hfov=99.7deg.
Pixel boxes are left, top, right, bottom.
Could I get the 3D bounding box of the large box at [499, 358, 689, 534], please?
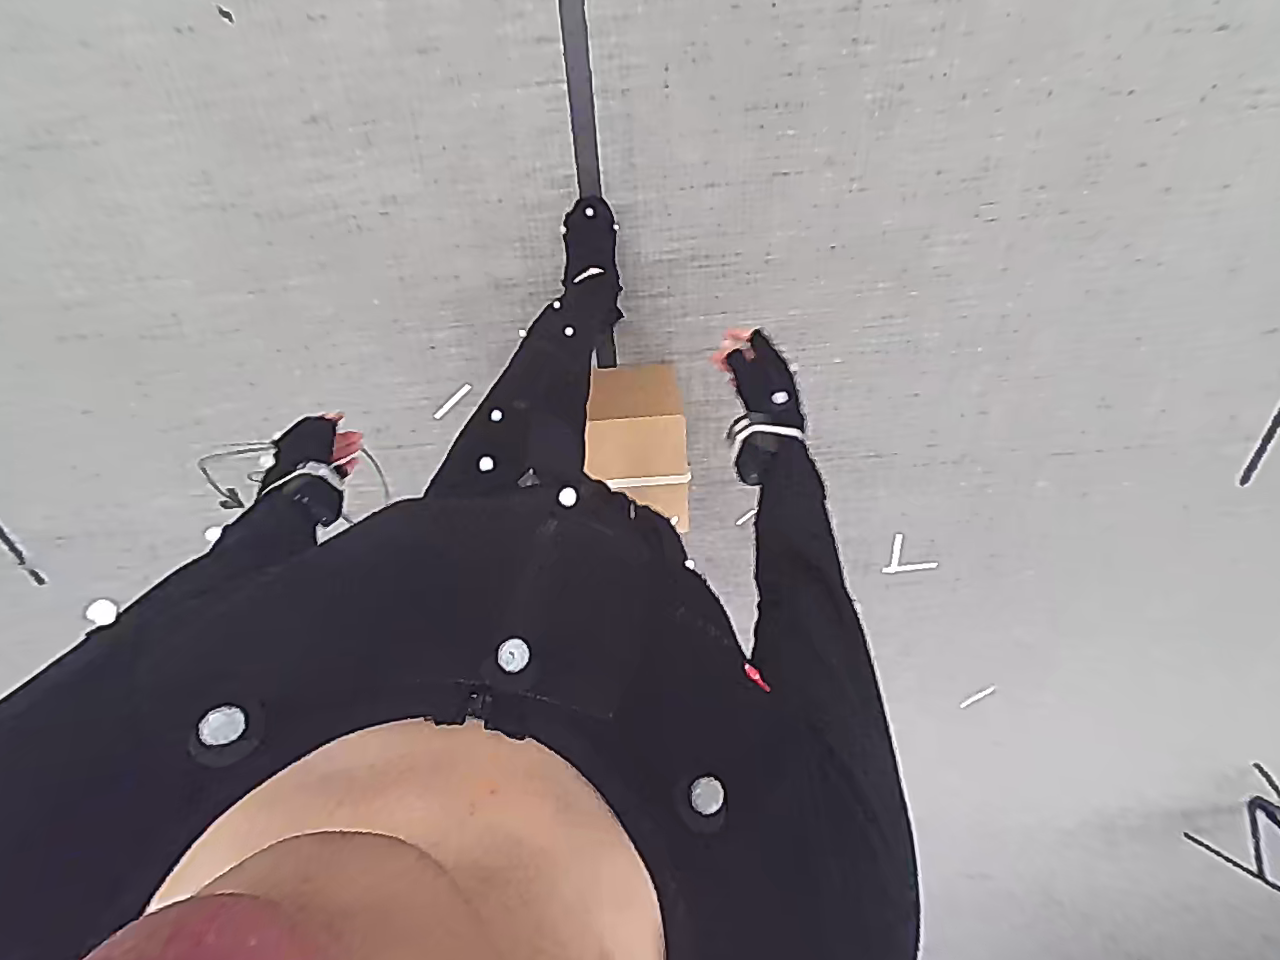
[{"bbox_3d":[-0.092,-0.092,1.344,0.408,0.320,0.320,-4,122,2],"label":"large box"}]
